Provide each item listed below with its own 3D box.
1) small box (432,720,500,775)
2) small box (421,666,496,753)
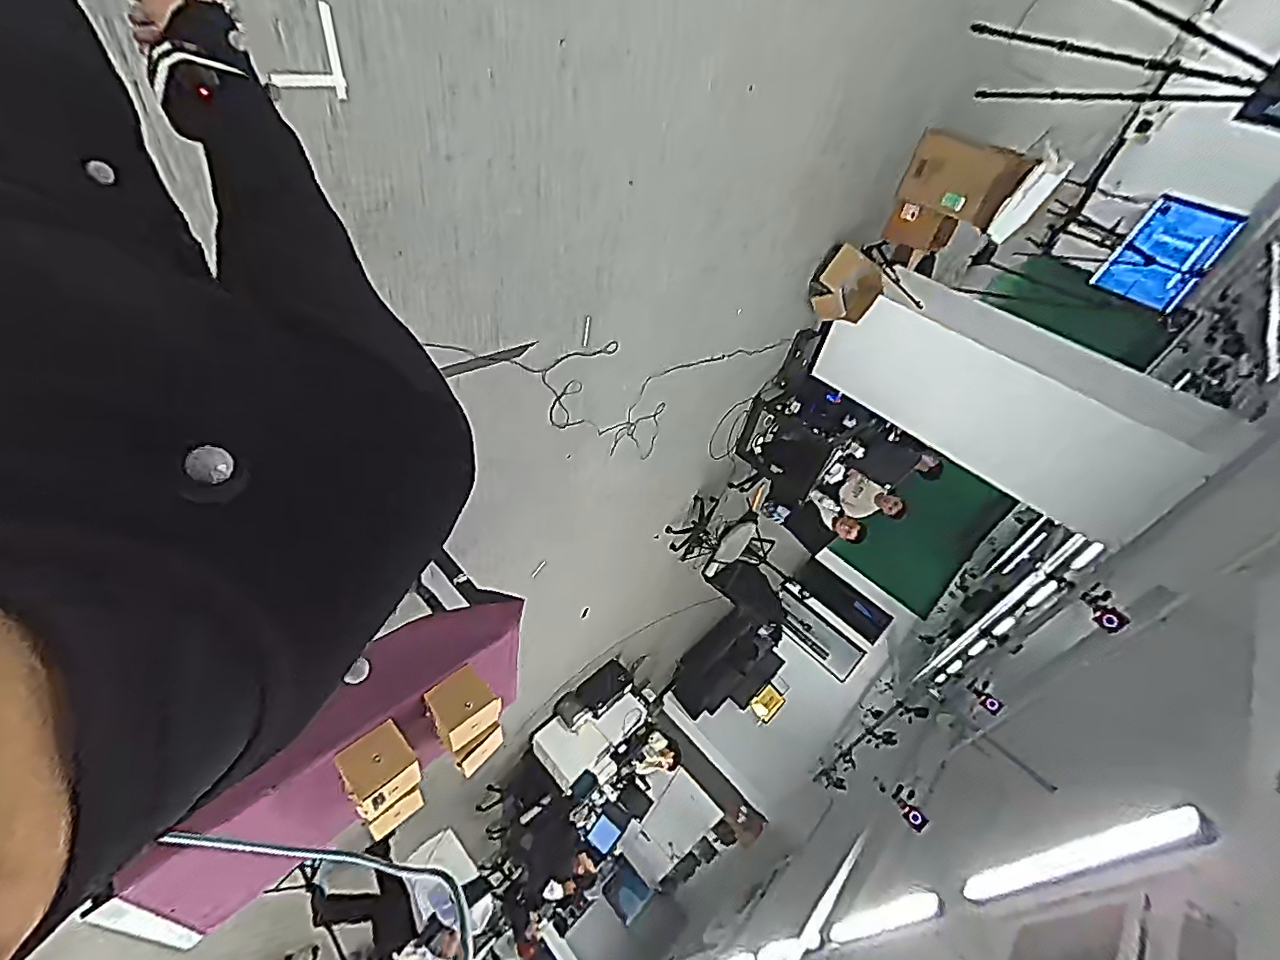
[{"bbox_3d":[-0.637,0.932,1.988,0.179,0.176,0.168,-31,148,-34],"label":"small box"},{"bbox_3d":[-0.607,0.765,1.816,0.179,0.176,0.168,-30,147,-36],"label":"small box"}]
